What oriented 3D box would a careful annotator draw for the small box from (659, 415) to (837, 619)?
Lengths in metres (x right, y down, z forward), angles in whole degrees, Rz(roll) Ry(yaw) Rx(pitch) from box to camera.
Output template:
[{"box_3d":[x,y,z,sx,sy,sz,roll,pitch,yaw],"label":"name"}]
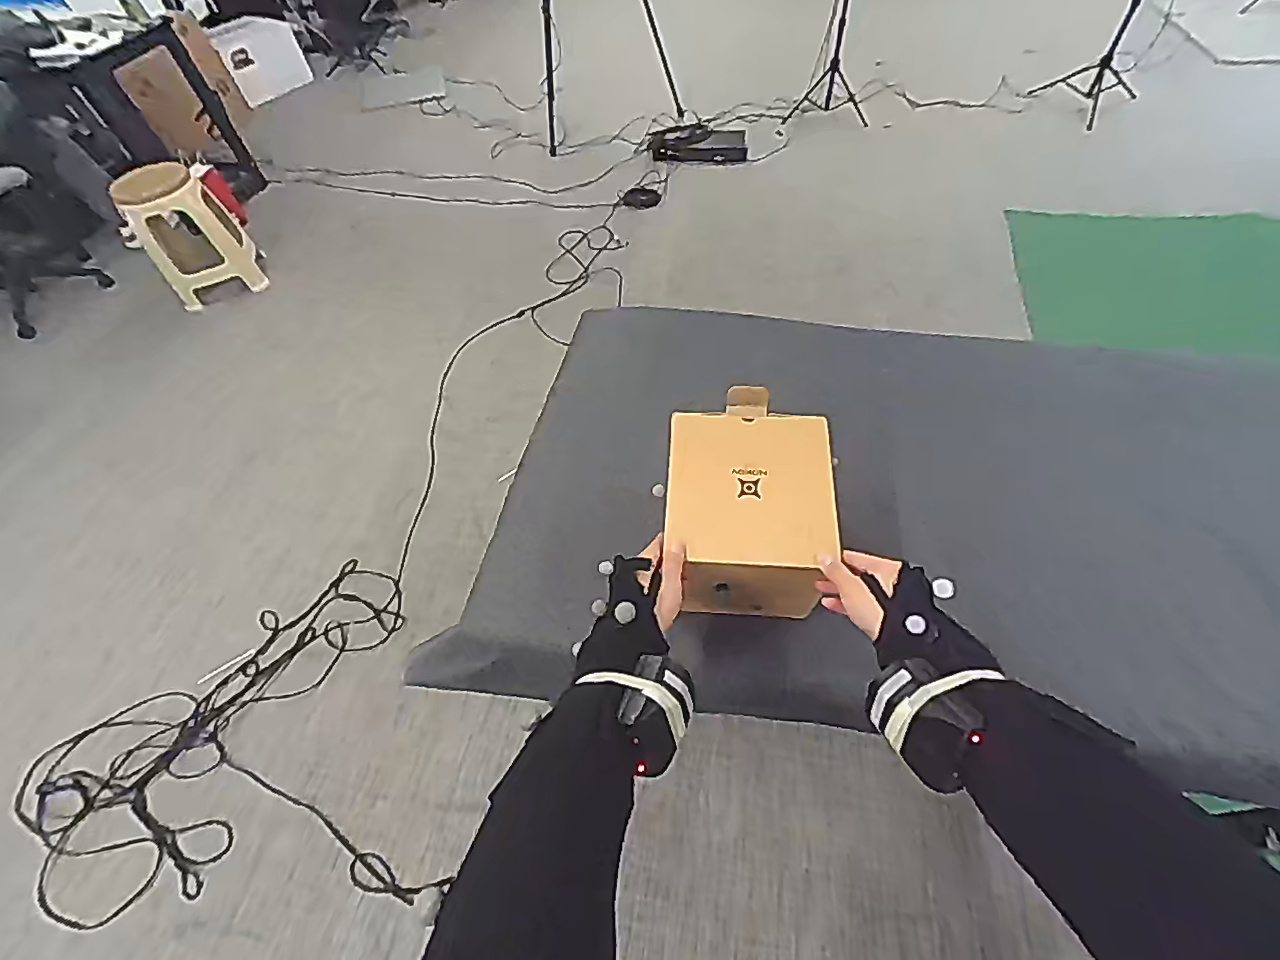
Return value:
[{"box_3d":[0.113,0.047,0.607,0.168,0.176,0.179,2,59,6],"label":"small box"}]
